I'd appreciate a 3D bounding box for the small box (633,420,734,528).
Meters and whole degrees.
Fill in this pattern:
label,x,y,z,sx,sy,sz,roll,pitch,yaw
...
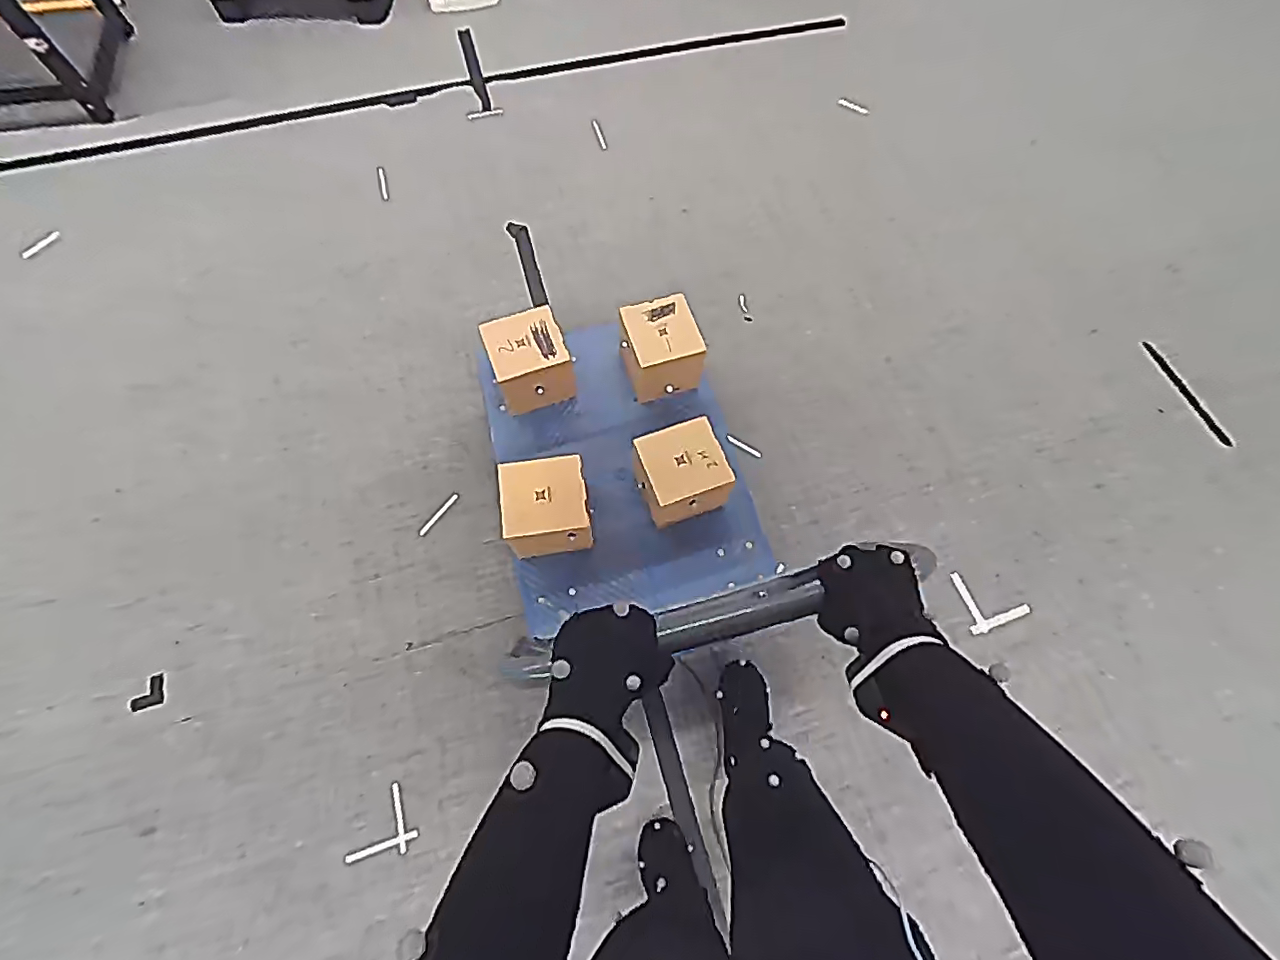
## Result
label,x,y,z,sx,sy,sz,roll,pitch,yaw
small box,0.093,-0.007,1.235,0.179,0.176,0.168,-19,71,-9

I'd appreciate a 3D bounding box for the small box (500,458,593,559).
label,x,y,z,sx,sy,sz,roll,pitch,yaw
small box,-0.201,0.069,1.196,0.179,0.176,0.168,-8,69,-6

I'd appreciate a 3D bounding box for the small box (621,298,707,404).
label,x,y,z,sx,sy,sz,roll,pitch,yaw
small box,0.050,-0.319,1.356,0.168,0.176,0.179,-17,71,-8
